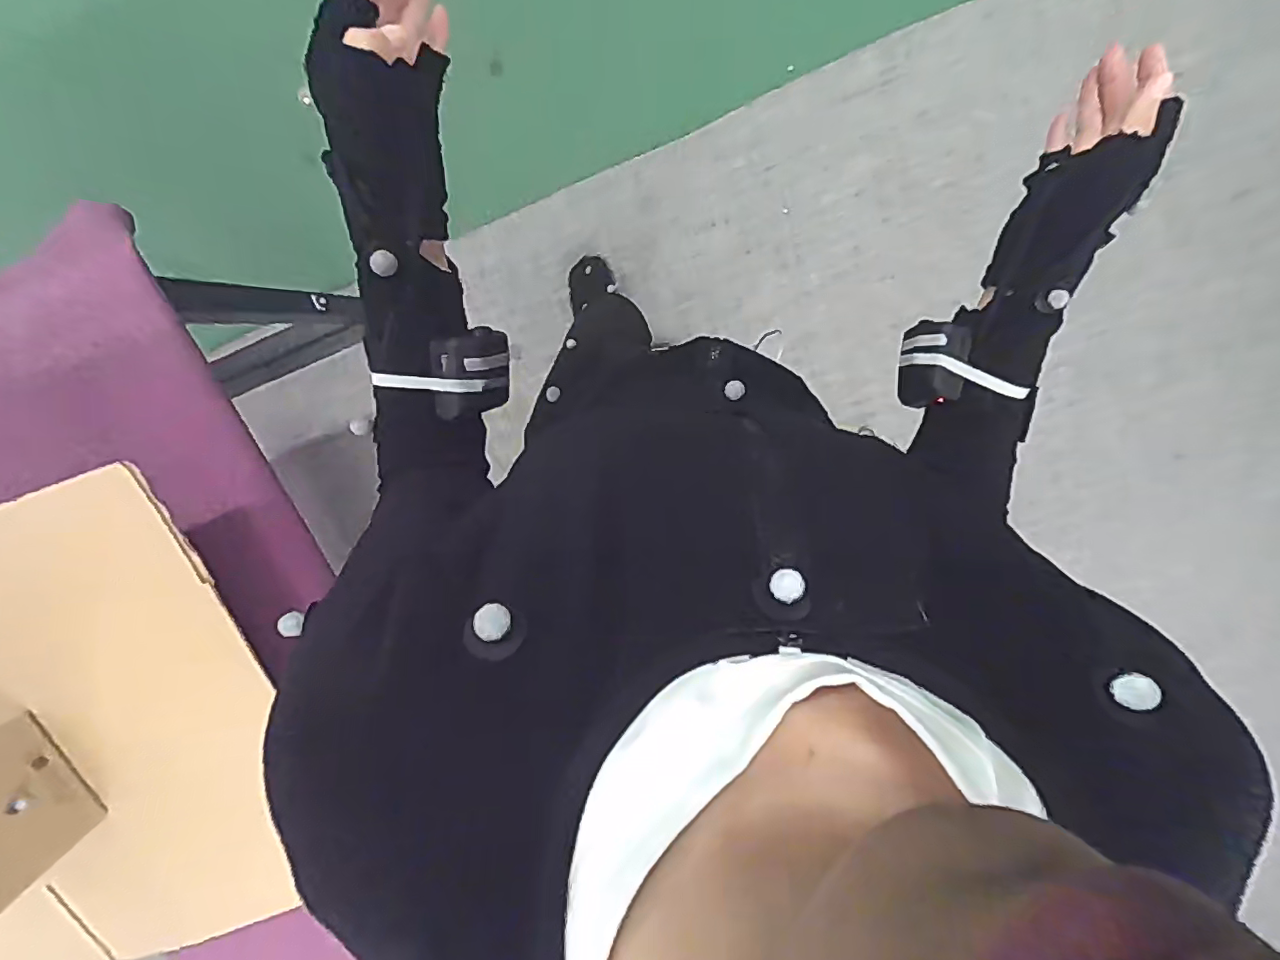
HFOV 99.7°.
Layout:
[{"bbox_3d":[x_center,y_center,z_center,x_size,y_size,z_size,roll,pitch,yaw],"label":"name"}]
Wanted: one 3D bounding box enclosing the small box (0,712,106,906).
[{"bbox_3d":[-0.760,0.386,0.582,0.179,0.176,0.168,-18,105,7],"label":"small box"}]
